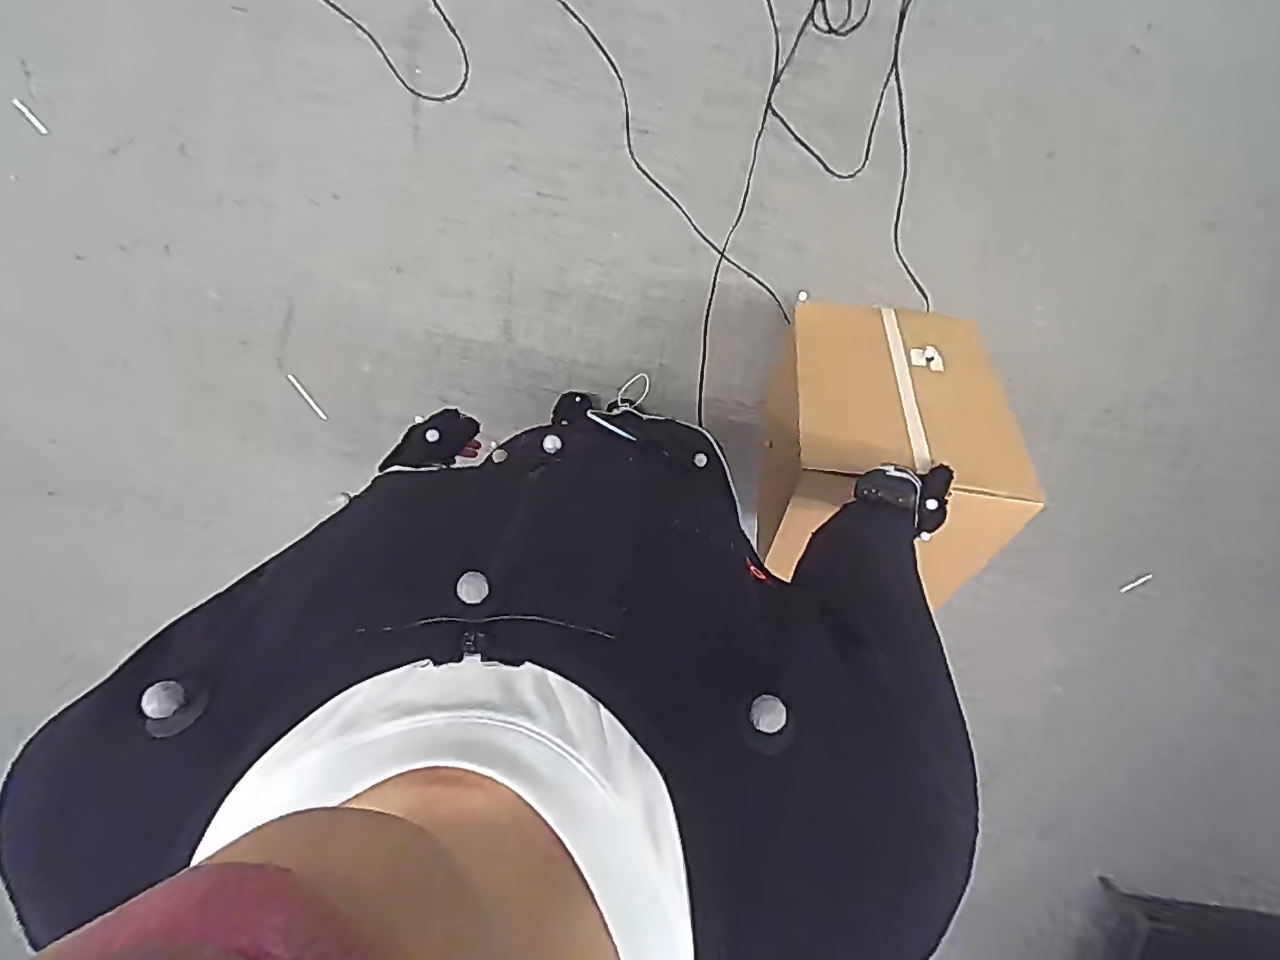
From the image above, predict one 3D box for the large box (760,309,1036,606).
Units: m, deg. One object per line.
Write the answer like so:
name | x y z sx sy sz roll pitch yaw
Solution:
large box | 0.394 -0.042 0.951 0.320 0.408 0.320 10 141 4
